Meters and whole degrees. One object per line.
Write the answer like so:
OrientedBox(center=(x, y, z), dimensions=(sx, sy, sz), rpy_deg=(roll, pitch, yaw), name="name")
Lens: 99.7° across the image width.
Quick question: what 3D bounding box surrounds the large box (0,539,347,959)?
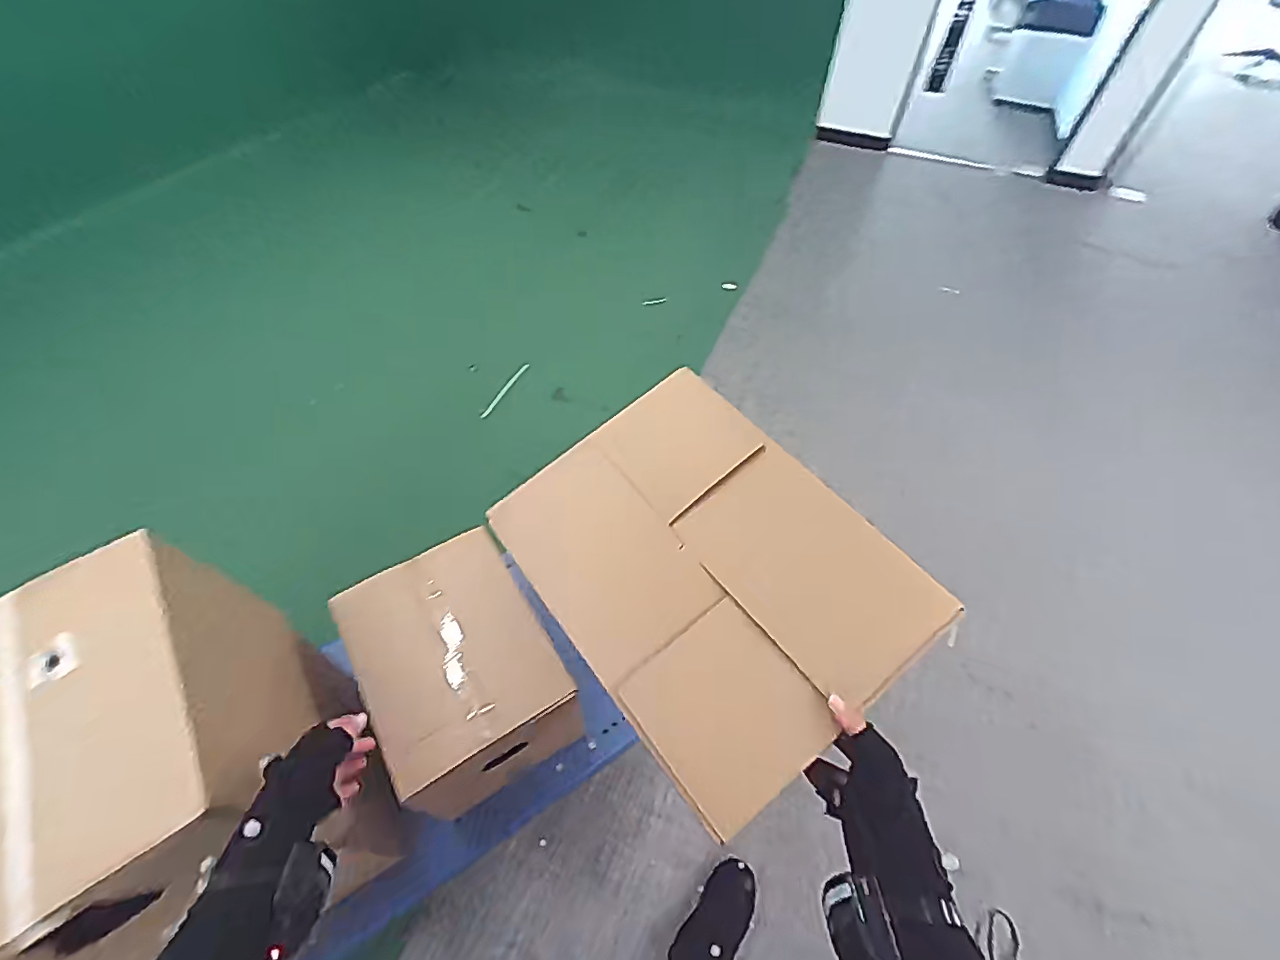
OrientedBox(center=(-0.661, 0.365, 0.703), dimensions=(0.320, 0.320, 0.408), rpy_deg=(-32, 59, -18), name="large box")
